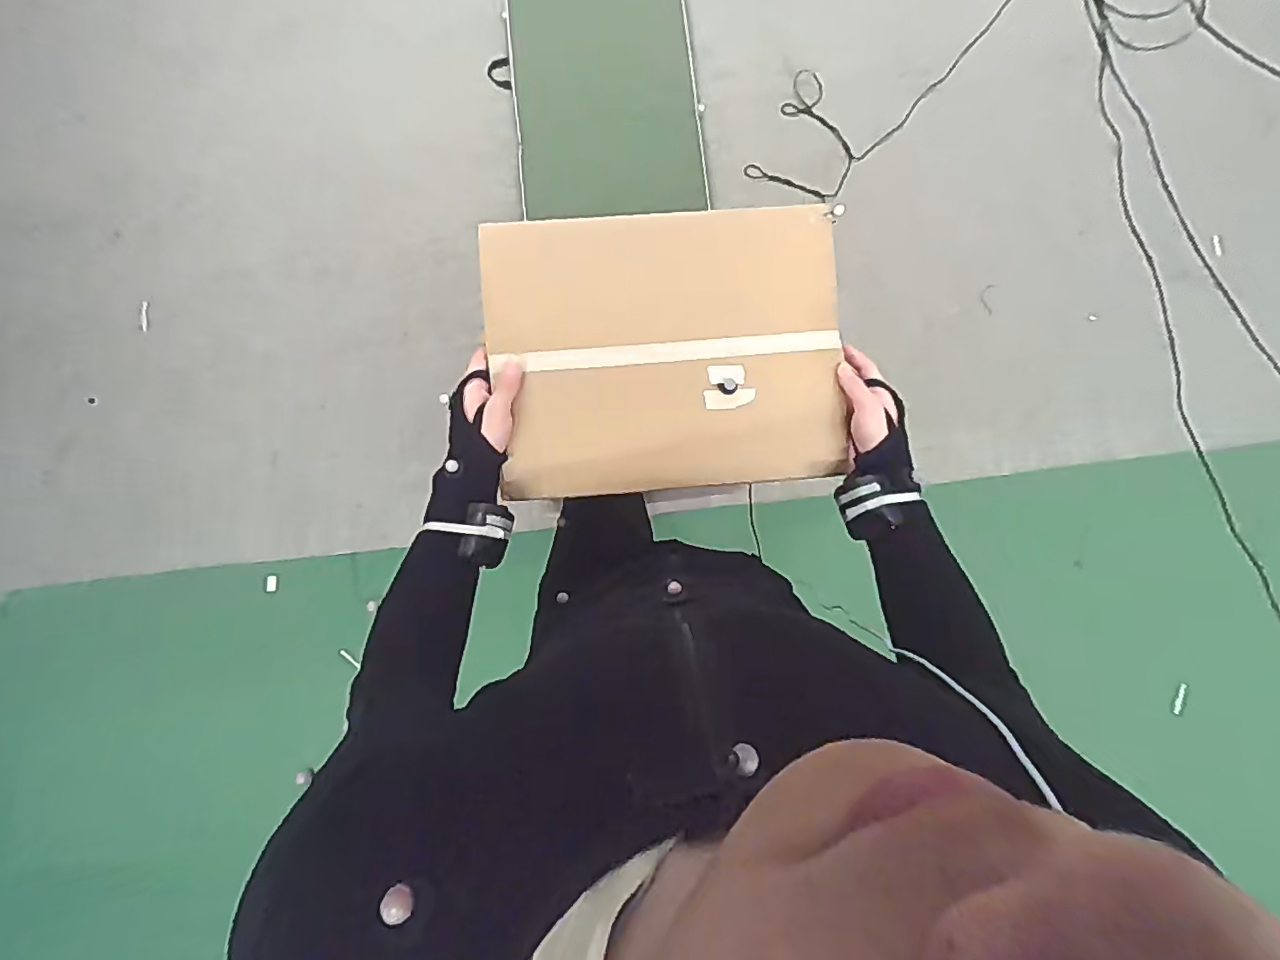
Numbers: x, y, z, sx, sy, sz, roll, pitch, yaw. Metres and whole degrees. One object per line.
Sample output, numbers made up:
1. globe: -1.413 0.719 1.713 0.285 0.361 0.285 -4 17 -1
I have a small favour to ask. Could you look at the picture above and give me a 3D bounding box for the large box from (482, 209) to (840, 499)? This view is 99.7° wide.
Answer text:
1. large box: 0.021 -0.152 0.781 0.408 0.320 0.320 -5 92 -2
